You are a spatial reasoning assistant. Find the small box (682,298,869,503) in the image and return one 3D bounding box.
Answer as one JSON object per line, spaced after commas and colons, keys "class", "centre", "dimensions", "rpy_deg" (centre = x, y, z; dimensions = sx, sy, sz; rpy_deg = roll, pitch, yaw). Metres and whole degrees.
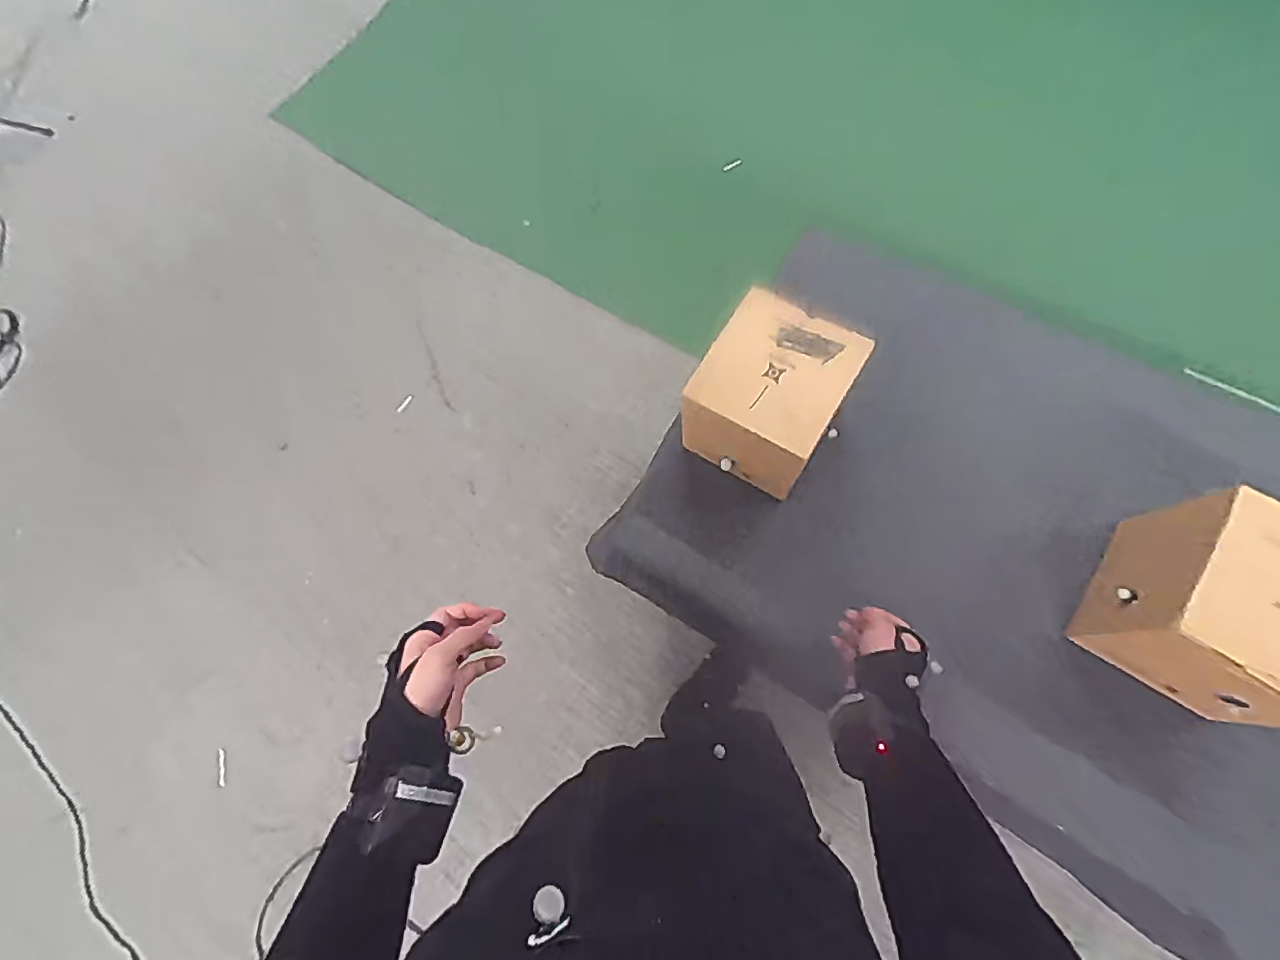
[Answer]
{"class": "small box", "centre": [0.166, -0.096, 0.719], "dimensions": [0.168, 0.176, 0.179], "rpy_deg": [31, 78, 14]}
